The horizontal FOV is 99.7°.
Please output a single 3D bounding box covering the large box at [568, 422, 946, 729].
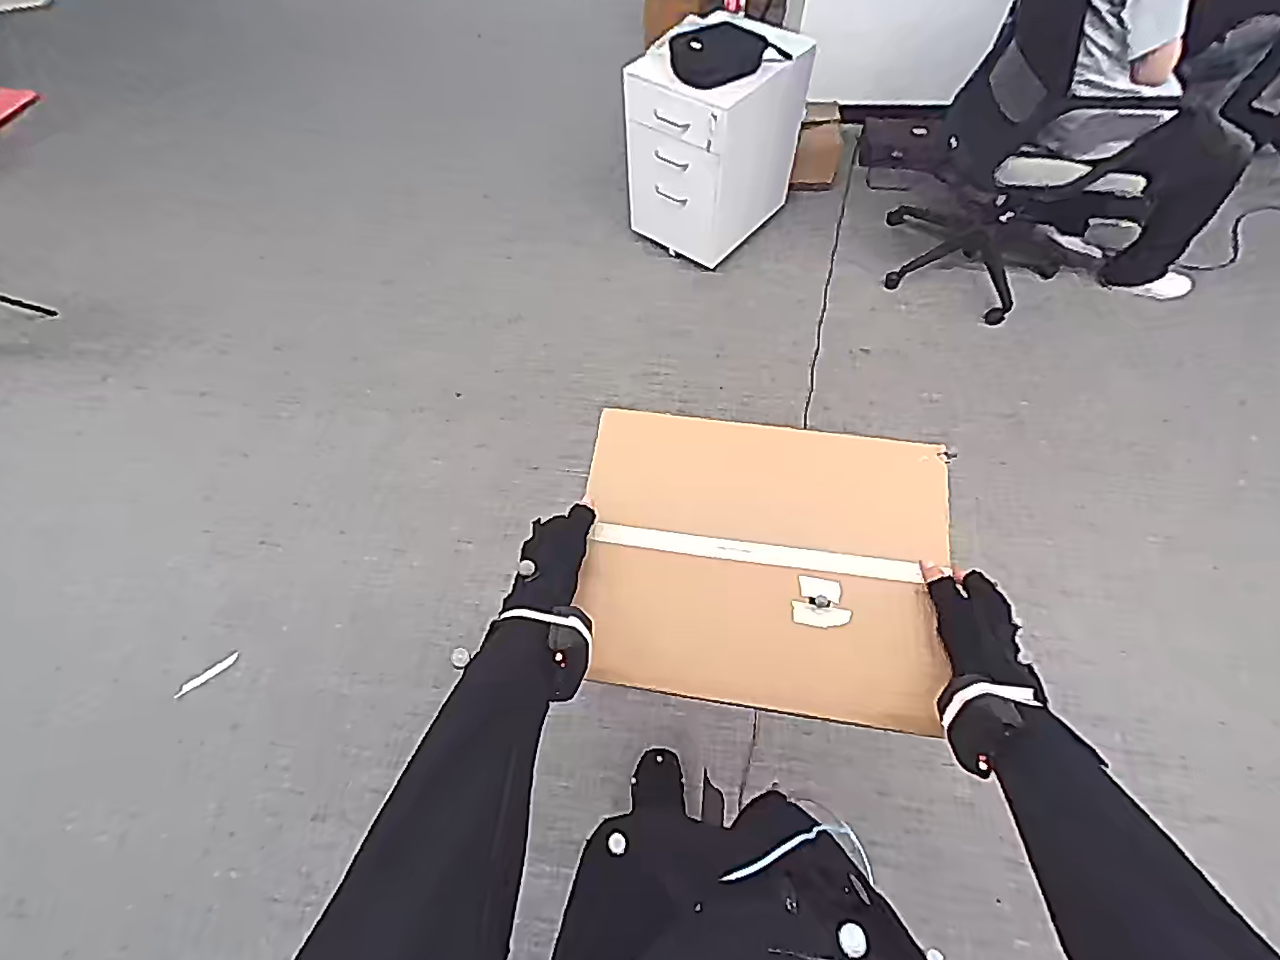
[{"bbox_3d":[0.141,0.141,0.755,0.408,0.320,0.320,7,71,5],"label":"large box"}]
